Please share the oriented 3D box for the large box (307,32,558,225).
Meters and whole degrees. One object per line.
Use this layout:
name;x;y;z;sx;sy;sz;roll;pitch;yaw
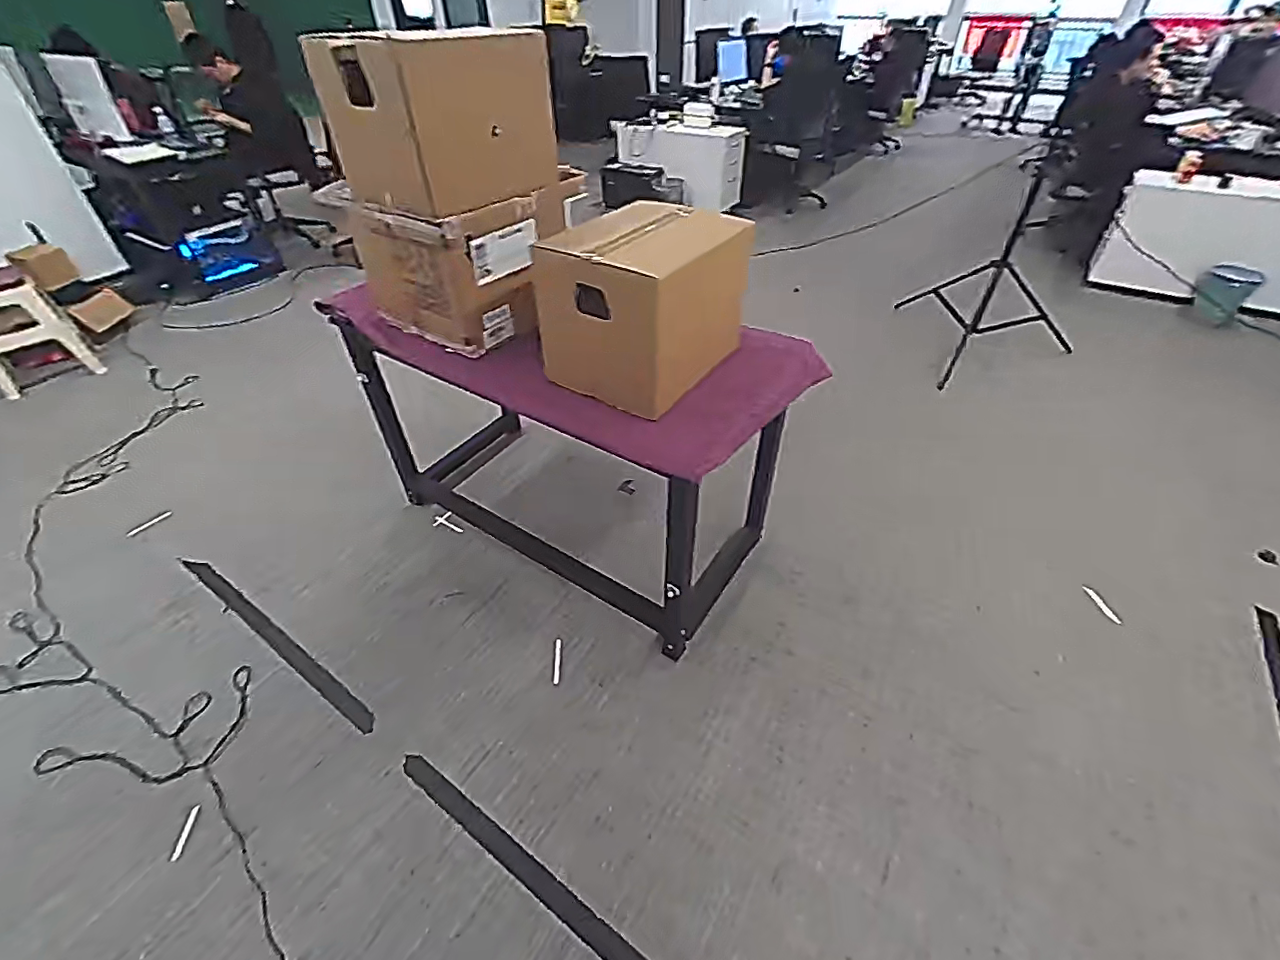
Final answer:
large box;-0.442;-0.825;1.253;0.320;0.320;0.408;22;47;26
